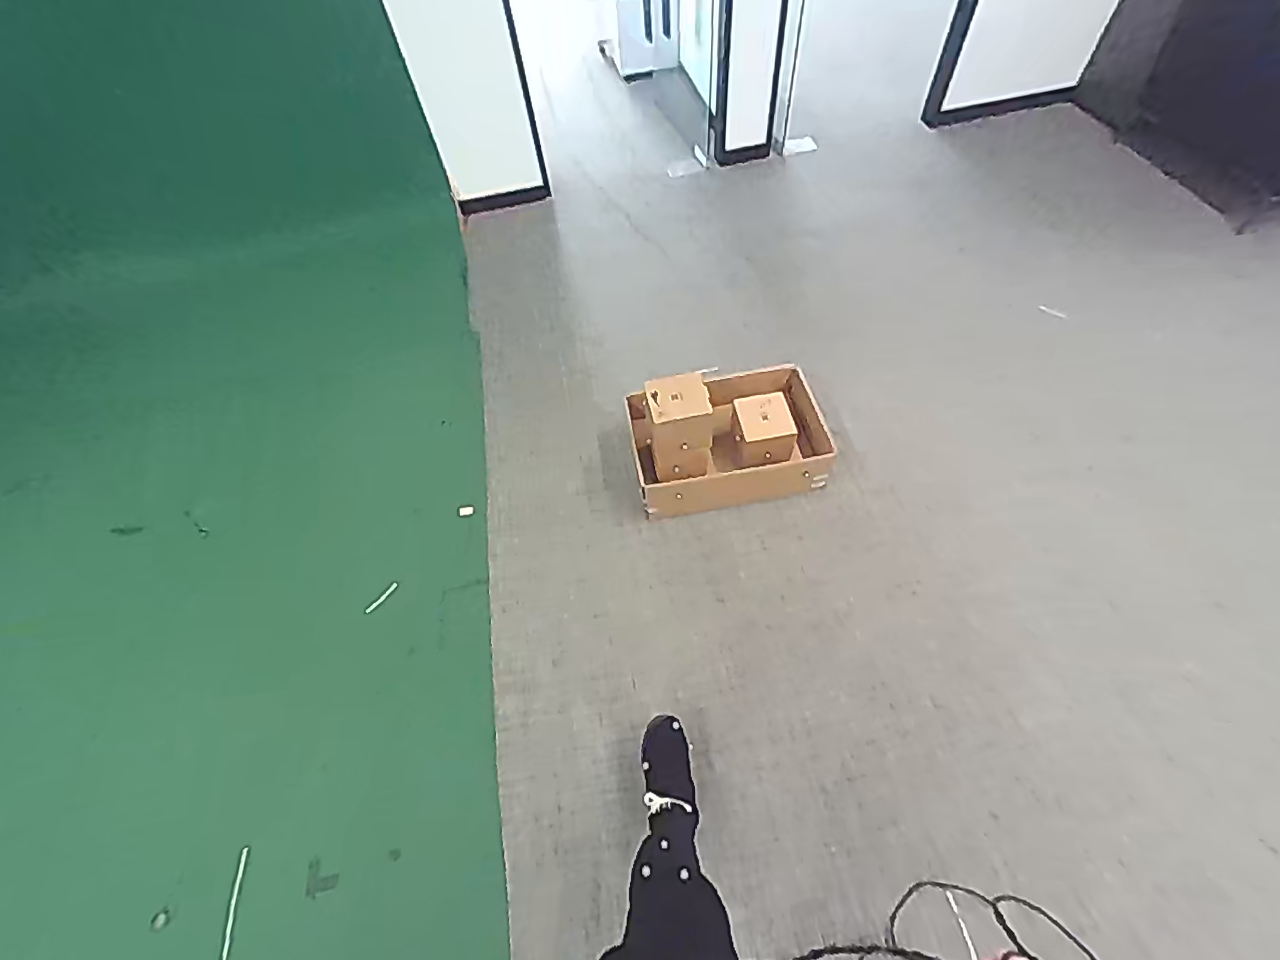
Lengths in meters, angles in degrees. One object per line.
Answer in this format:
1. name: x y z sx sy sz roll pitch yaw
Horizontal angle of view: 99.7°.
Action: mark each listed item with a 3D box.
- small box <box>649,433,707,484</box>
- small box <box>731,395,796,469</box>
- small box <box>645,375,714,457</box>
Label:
1. small box: 0.124 -0.102 1.771 0.168 0.176 0.179 -9 56 -2
2. small box: 0.401 -0.151 1.780 0.168 0.176 0.179 -9 57 0
3. small box: 0.115 -0.190 1.633 0.179 0.176 0.168 -10 56 -3
